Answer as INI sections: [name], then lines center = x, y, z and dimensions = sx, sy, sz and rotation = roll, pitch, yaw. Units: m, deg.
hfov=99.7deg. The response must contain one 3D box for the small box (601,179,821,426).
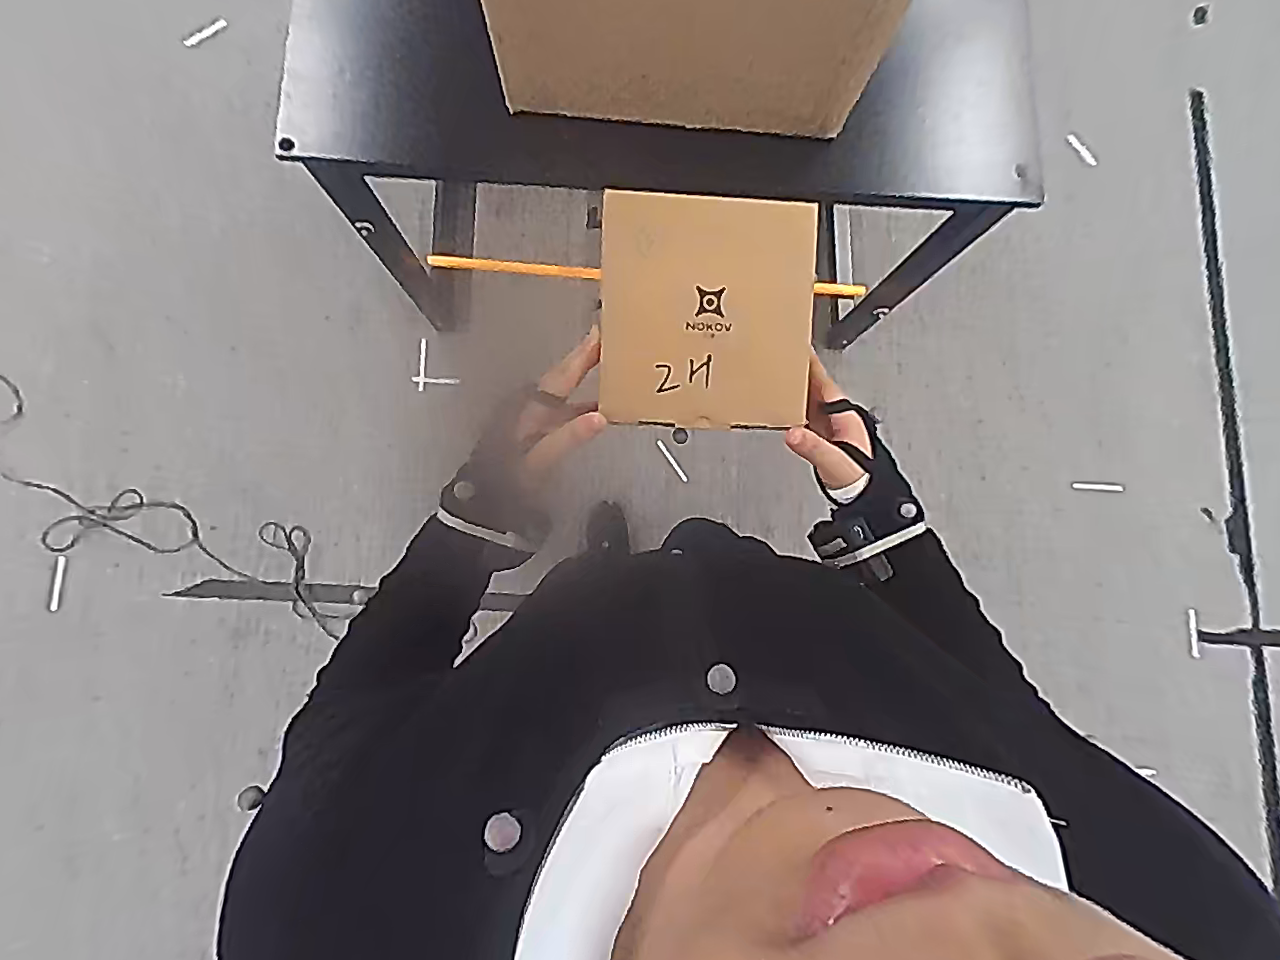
[small box]
center = 0.050, -0.143, 0.496
dimensions = 0.168, 0.176, 0.179
rotation = 2, 95, -4
